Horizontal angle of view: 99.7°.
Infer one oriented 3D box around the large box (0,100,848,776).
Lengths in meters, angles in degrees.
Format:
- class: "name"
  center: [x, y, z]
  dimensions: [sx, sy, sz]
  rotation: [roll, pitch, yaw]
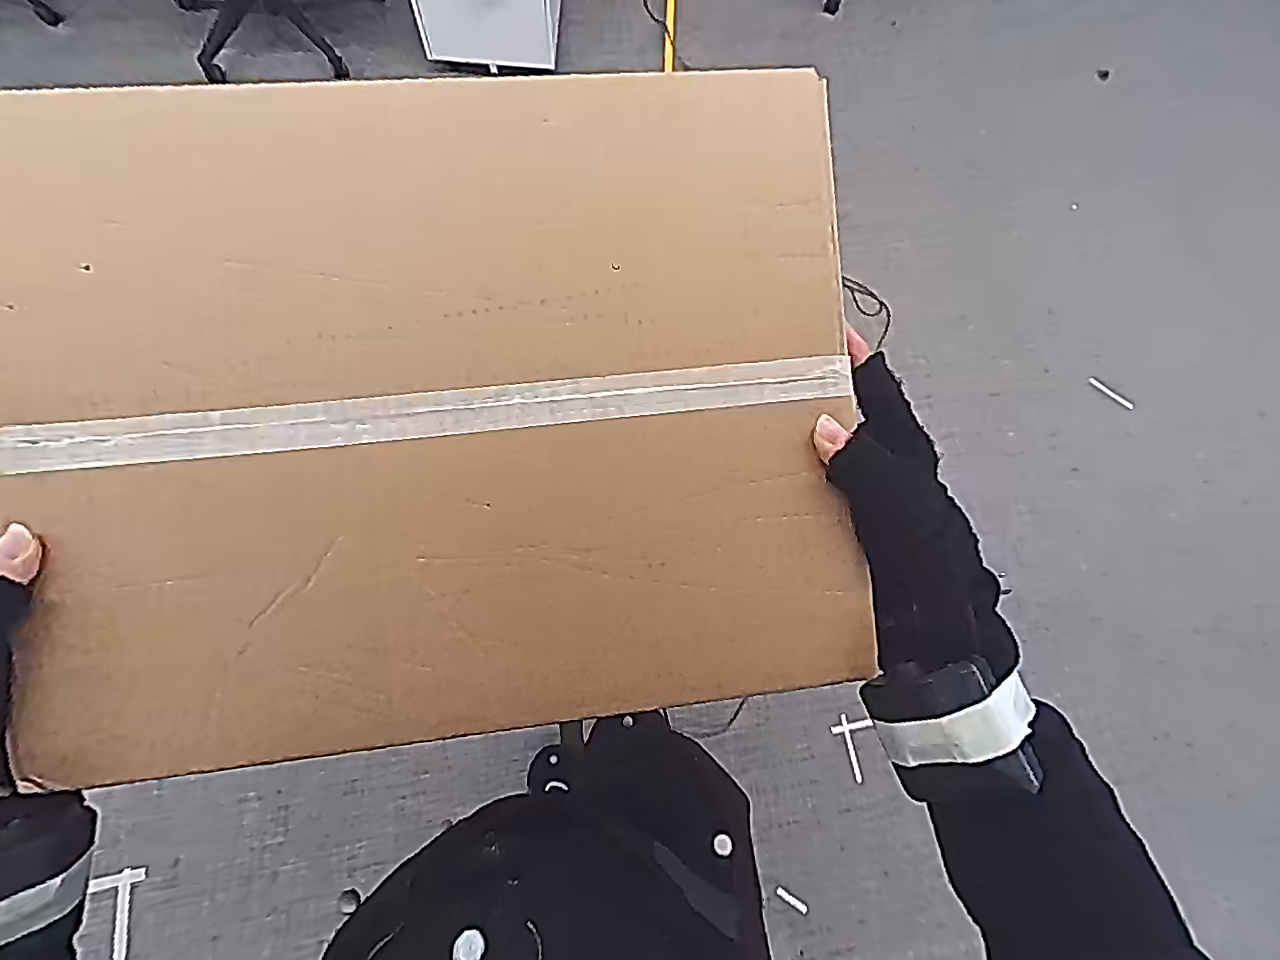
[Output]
- class: "large box"
  center: [-0.108, -0.033, 0.420]
  dimensions: [0.408, 0.320, 0.320]
  rotation: [-5, 90, -5]
